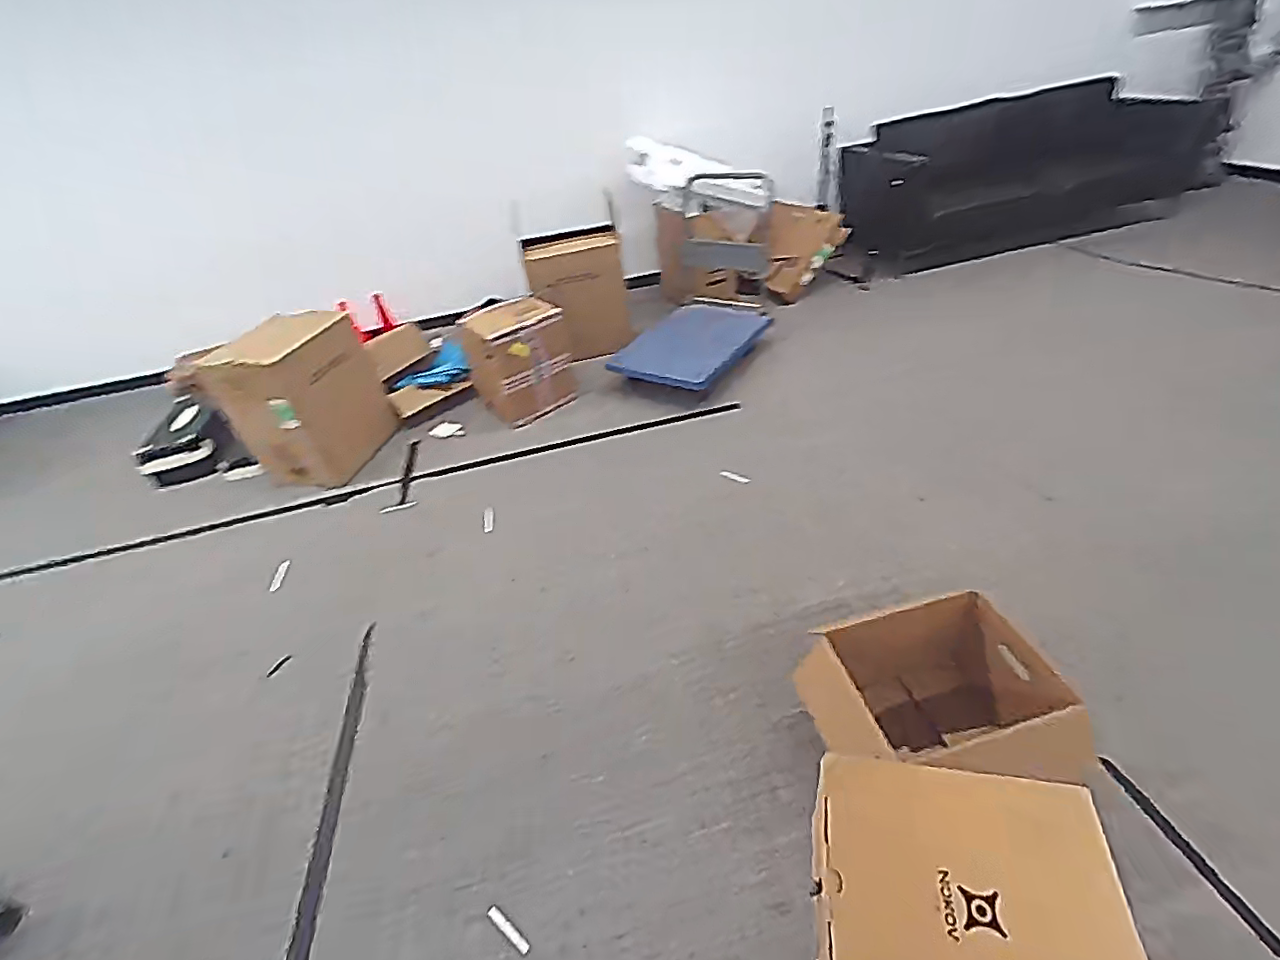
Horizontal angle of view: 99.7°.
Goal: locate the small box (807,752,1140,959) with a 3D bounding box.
[{"bbox_3d":[0.217,0.321,0.389,0.179,0.176,0.168,-1,44,15],"label":"small box"}]
